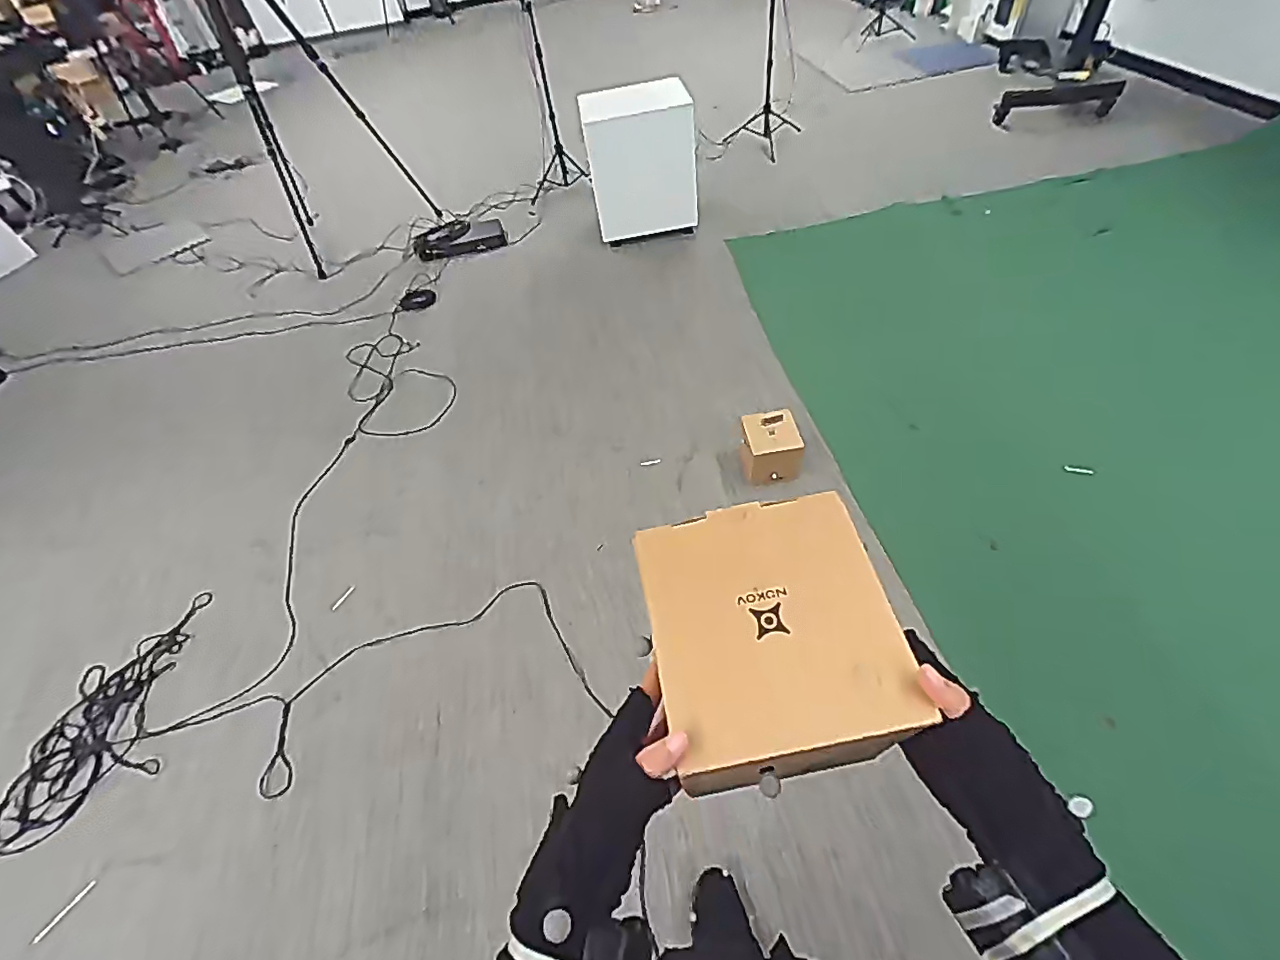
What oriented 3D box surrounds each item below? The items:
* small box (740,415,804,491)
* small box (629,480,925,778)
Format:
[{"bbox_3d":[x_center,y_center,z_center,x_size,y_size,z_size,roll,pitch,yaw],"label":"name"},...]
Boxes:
[{"bbox_3d":[0.434,-0.089,1.807,0.168,0.176,0.179,-9,51,1],"label":"small box"},{"bbox_3d":[0.094,0.131,0.444,0.168,0.176,0.179,-12,53,0],"label":"small box"}]
